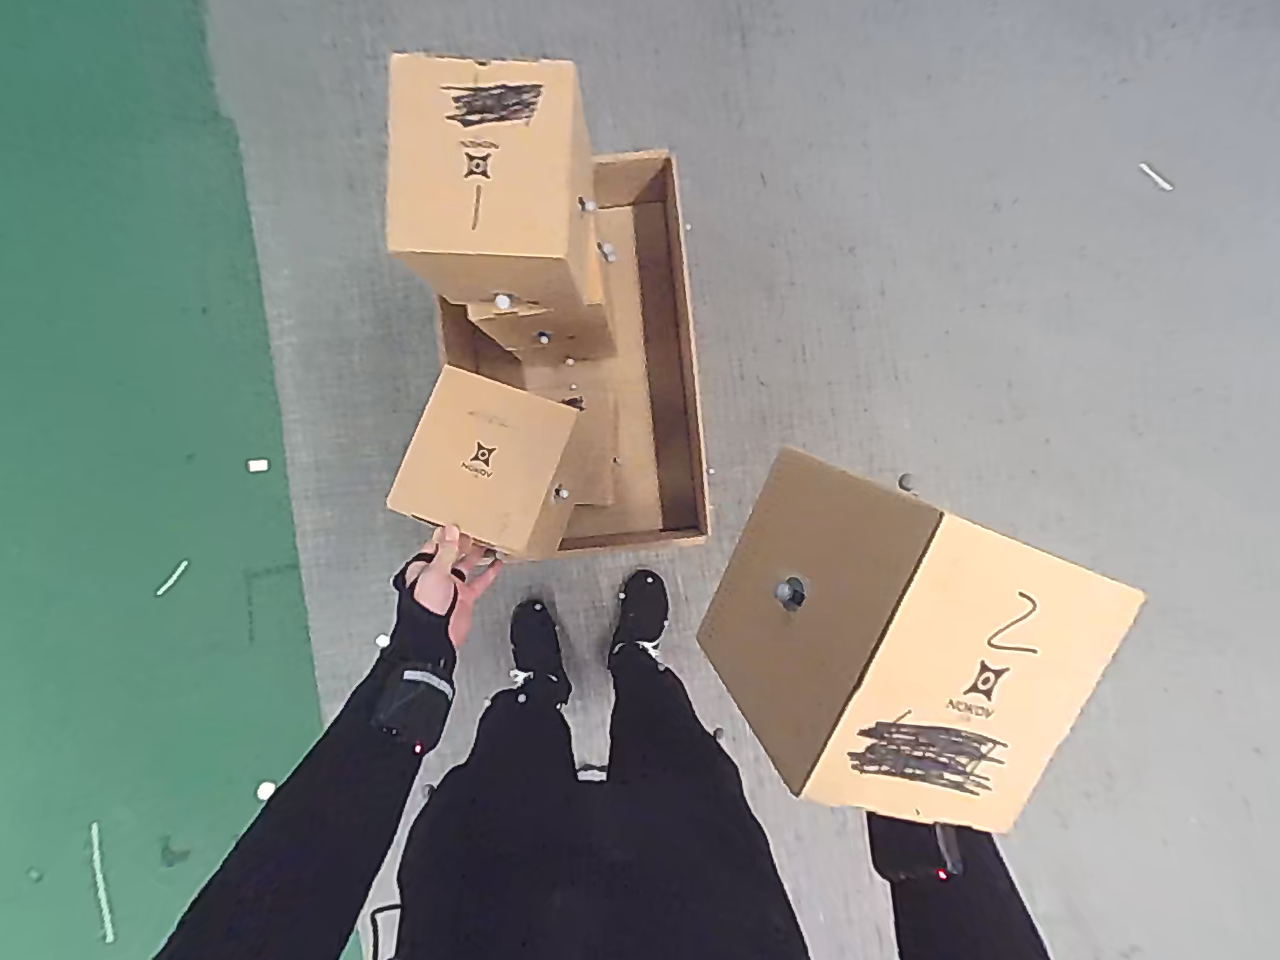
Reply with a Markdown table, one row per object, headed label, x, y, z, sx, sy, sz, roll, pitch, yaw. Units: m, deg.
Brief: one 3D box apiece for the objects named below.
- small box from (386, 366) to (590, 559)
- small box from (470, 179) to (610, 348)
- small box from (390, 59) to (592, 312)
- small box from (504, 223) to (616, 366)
| label | x | y | z | sx | sy | sz | roll | pitch | yaw |
| --- | --- | --- | --- | --- | --- | --- | --- | --- | --- |
| small box | -0.171 | -0.011 | 0.673 | 0.168 | 0.176 | 0.179 | 20 | 83 | 6 |
| small box | -0.134 | -0.291 | 0.734 | 0.168 | 0.176 | 0.179 | -7 | 92 | 1 |
| small box | -0.142 | -0.291 | 0.570 | 0.168 | 0.176 | 0.179 | 3 | 93 | 0 |
| small box | -0.132 | -0.298 | 0.896 | 0.168 | 0.176 | 0.179 | -6 | 92 | 2 |
